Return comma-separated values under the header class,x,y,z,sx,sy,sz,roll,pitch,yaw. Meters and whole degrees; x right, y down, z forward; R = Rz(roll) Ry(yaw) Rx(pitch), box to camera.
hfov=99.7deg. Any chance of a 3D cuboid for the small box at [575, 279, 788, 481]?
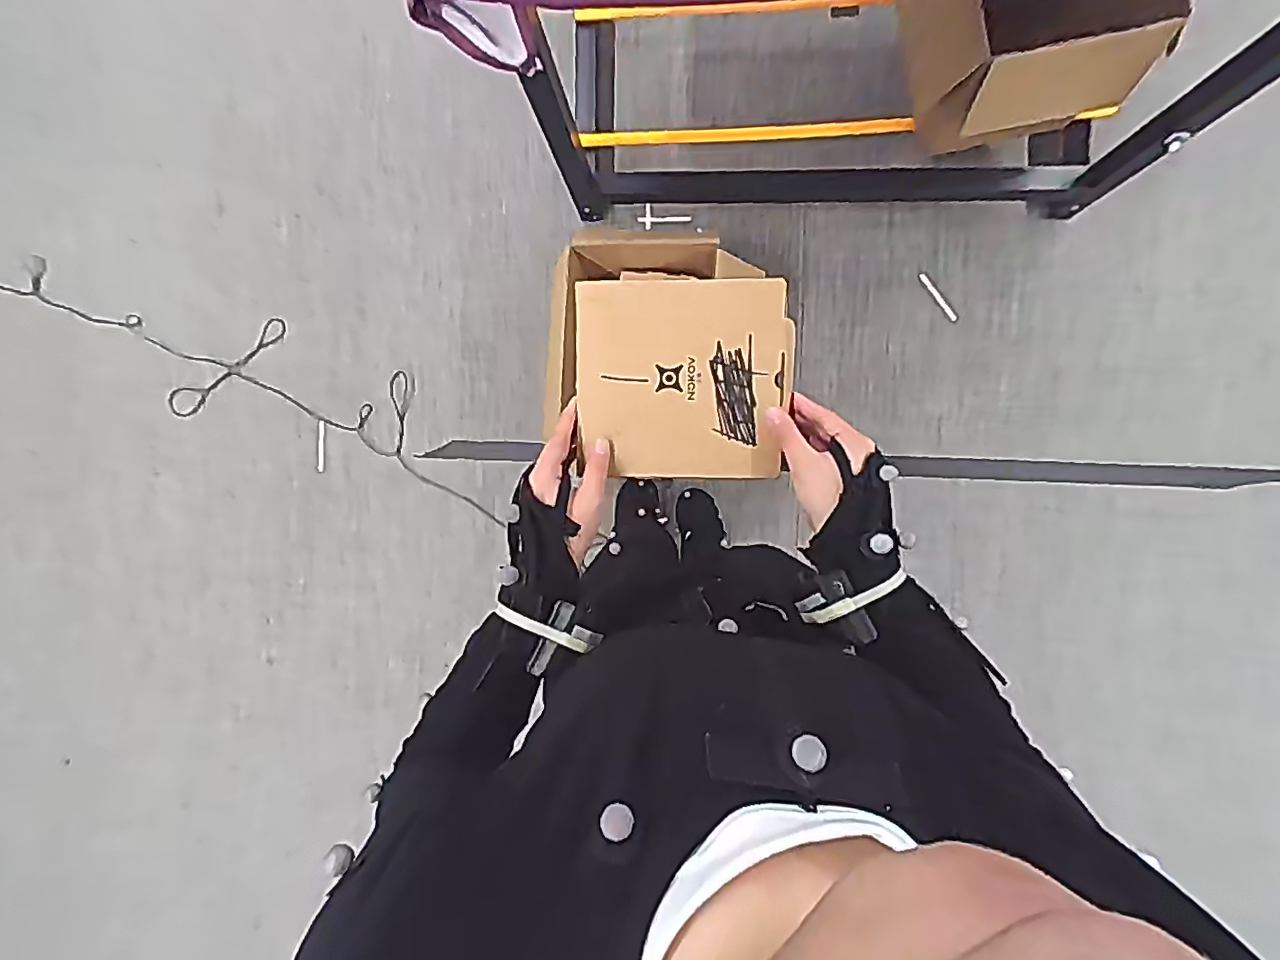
class,x,y,z,sx,sy,sz,roll,pitch,yaw
small box,0.037,-0.090,0.530,0.179,0.176,0.168,1,95,3
